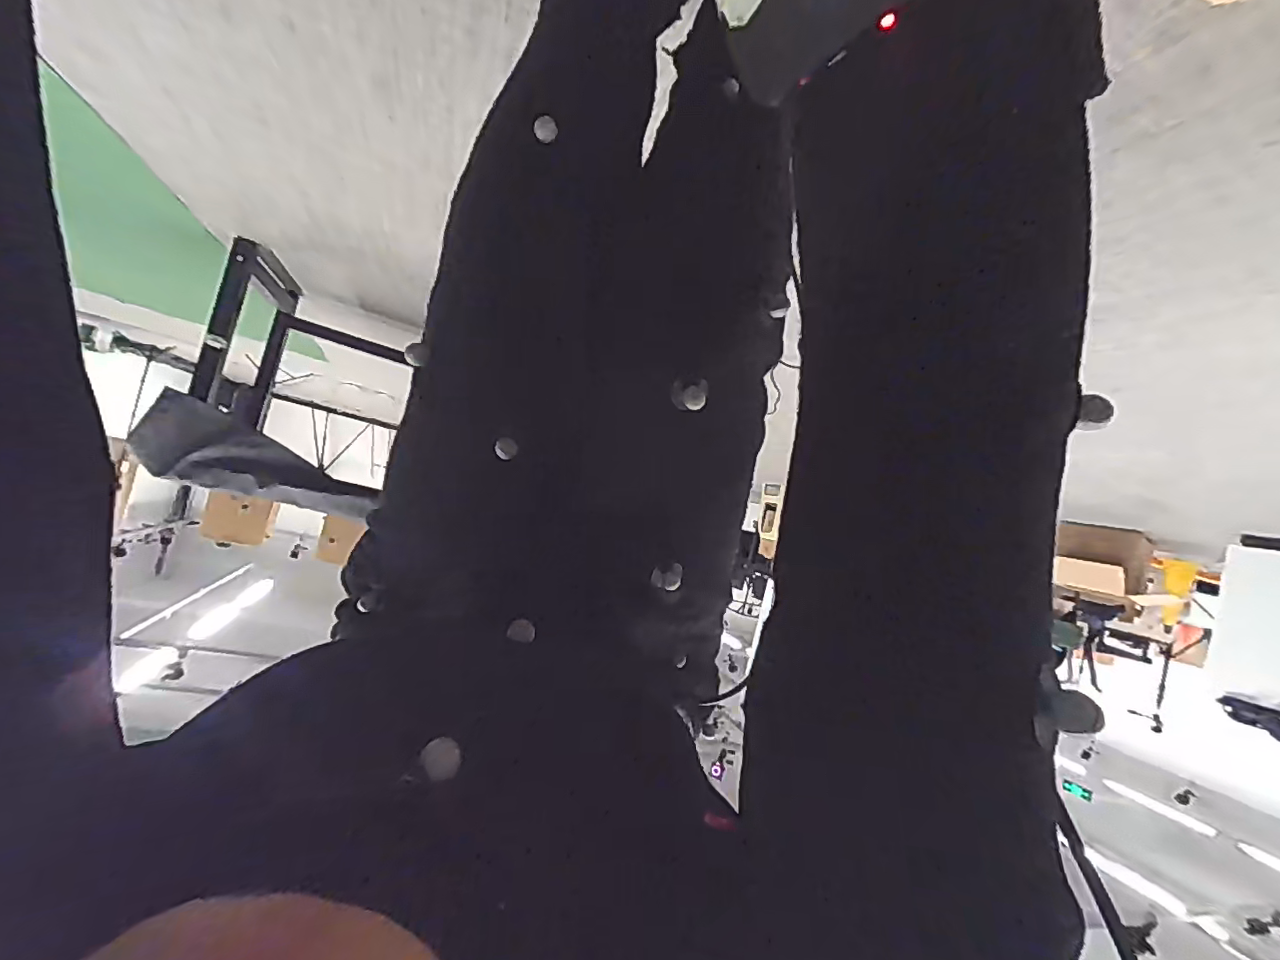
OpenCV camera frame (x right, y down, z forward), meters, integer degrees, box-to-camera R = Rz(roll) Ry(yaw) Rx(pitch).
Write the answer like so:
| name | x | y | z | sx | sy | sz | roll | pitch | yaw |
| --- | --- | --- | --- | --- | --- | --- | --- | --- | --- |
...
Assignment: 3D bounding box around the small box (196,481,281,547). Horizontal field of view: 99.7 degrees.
| name | x | y | z | sx | sy | sz | roll | pitch | yaw |
| --- | --- | --- | --- | --- | --- | --- | --- | --- | --- |
| small box | -1.270 | 0.103 | 1.724 | 0.168 | 0.176 | 0.179 | 16 | 176 | -25 |
